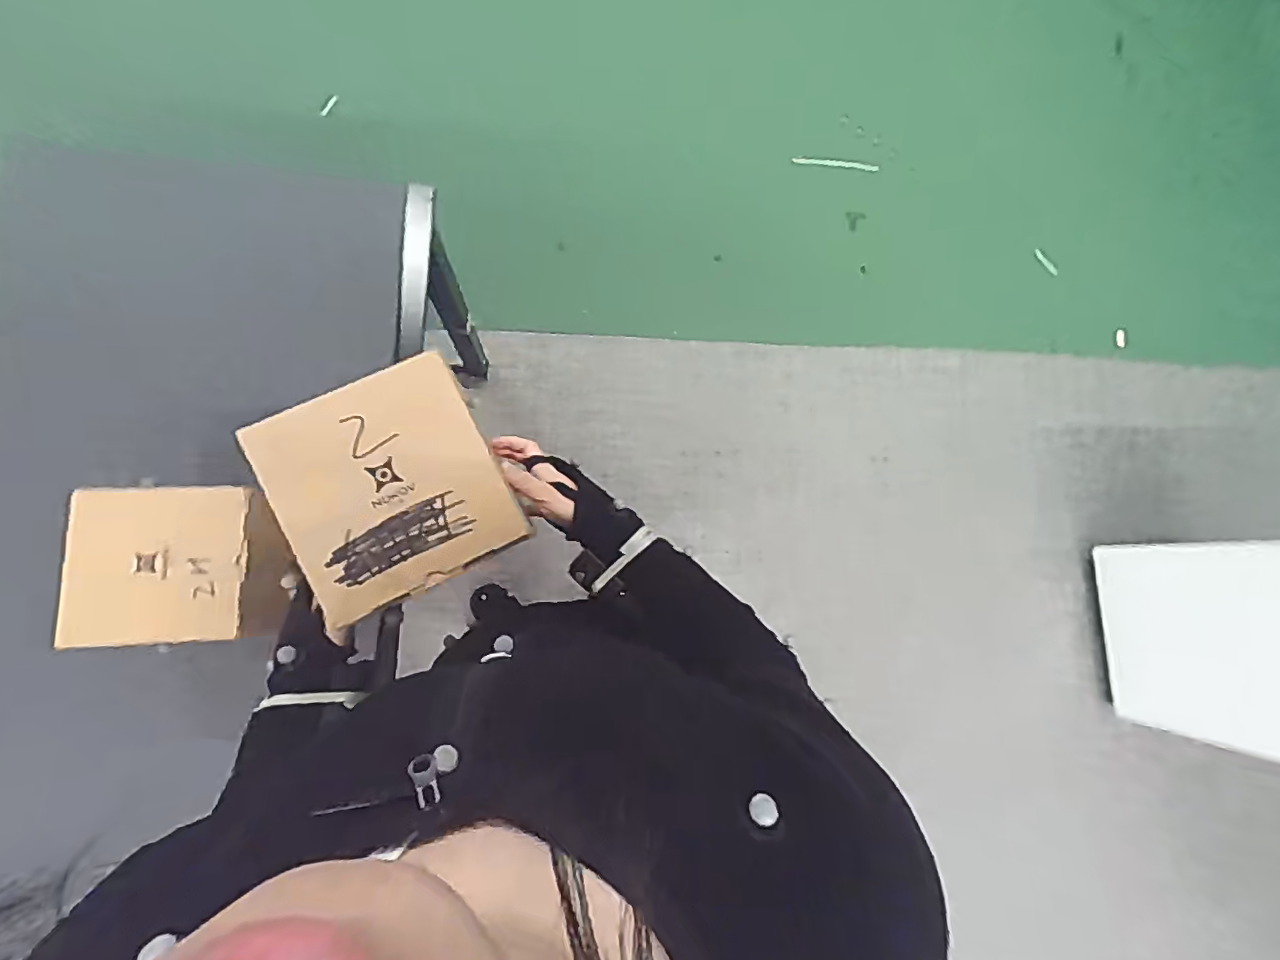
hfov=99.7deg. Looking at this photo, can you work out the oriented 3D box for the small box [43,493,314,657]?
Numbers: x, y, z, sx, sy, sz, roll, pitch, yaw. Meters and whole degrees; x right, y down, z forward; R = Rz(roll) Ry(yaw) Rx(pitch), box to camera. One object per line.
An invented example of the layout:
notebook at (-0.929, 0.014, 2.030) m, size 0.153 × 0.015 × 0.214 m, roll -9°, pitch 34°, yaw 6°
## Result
small box at (-0.522, 0.109, 0.640) m, size 0.179 × 0.176 × 0.168 m, roll -2°, pitch 81°, yaw -8°
